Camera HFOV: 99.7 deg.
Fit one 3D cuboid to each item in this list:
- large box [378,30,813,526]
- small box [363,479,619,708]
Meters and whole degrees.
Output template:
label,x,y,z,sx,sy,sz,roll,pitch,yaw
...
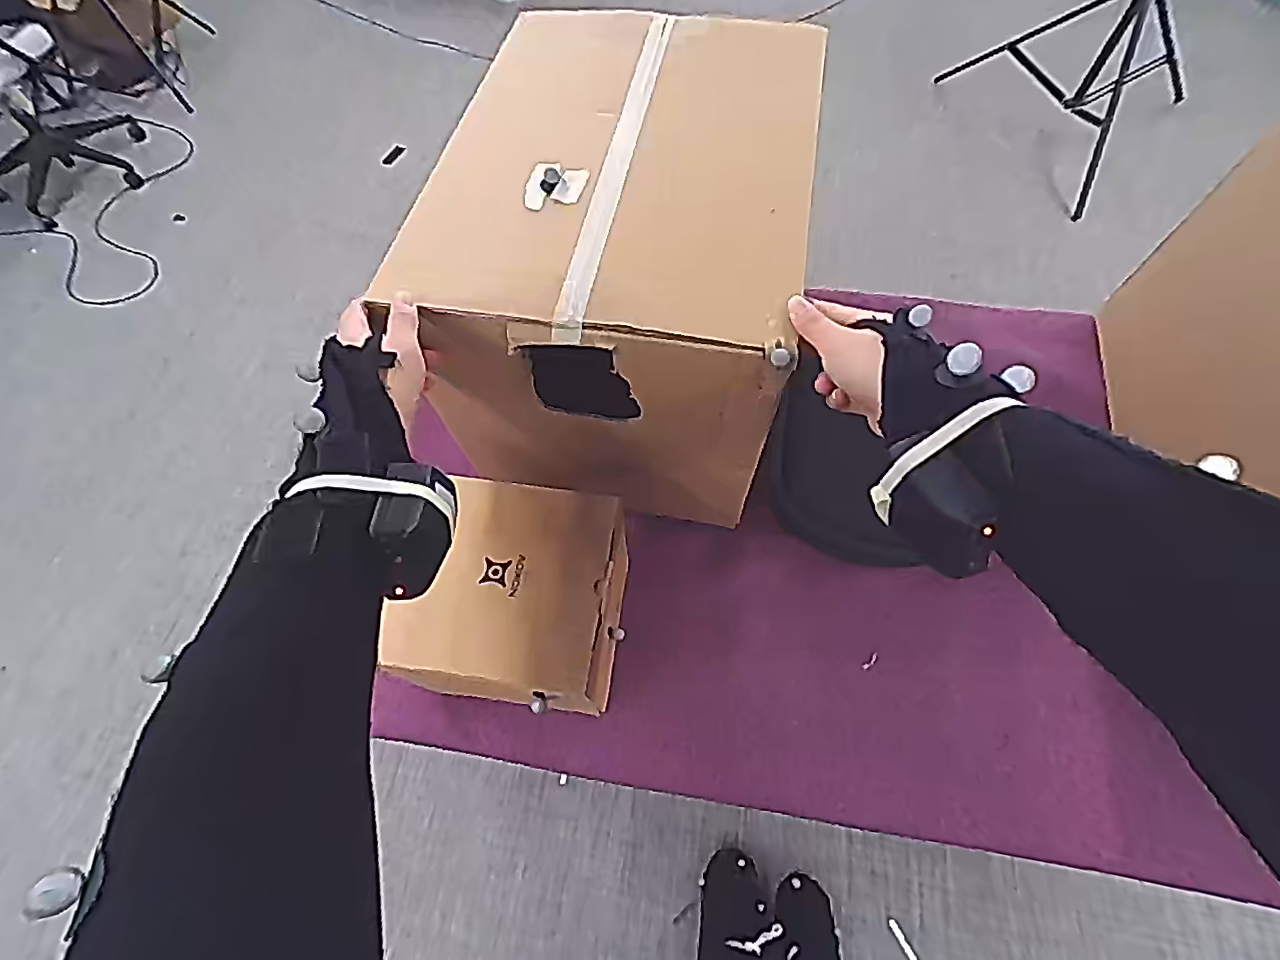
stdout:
label,x,y,z,sx,sy,sz,roll,pitch,yaw
large box,-0.009,-0.204,0.601,0.320,0.320,0.408,8,66,8
small box,-0.119,0.117,0.518,0.179,0.176,0.168,7,63,3
